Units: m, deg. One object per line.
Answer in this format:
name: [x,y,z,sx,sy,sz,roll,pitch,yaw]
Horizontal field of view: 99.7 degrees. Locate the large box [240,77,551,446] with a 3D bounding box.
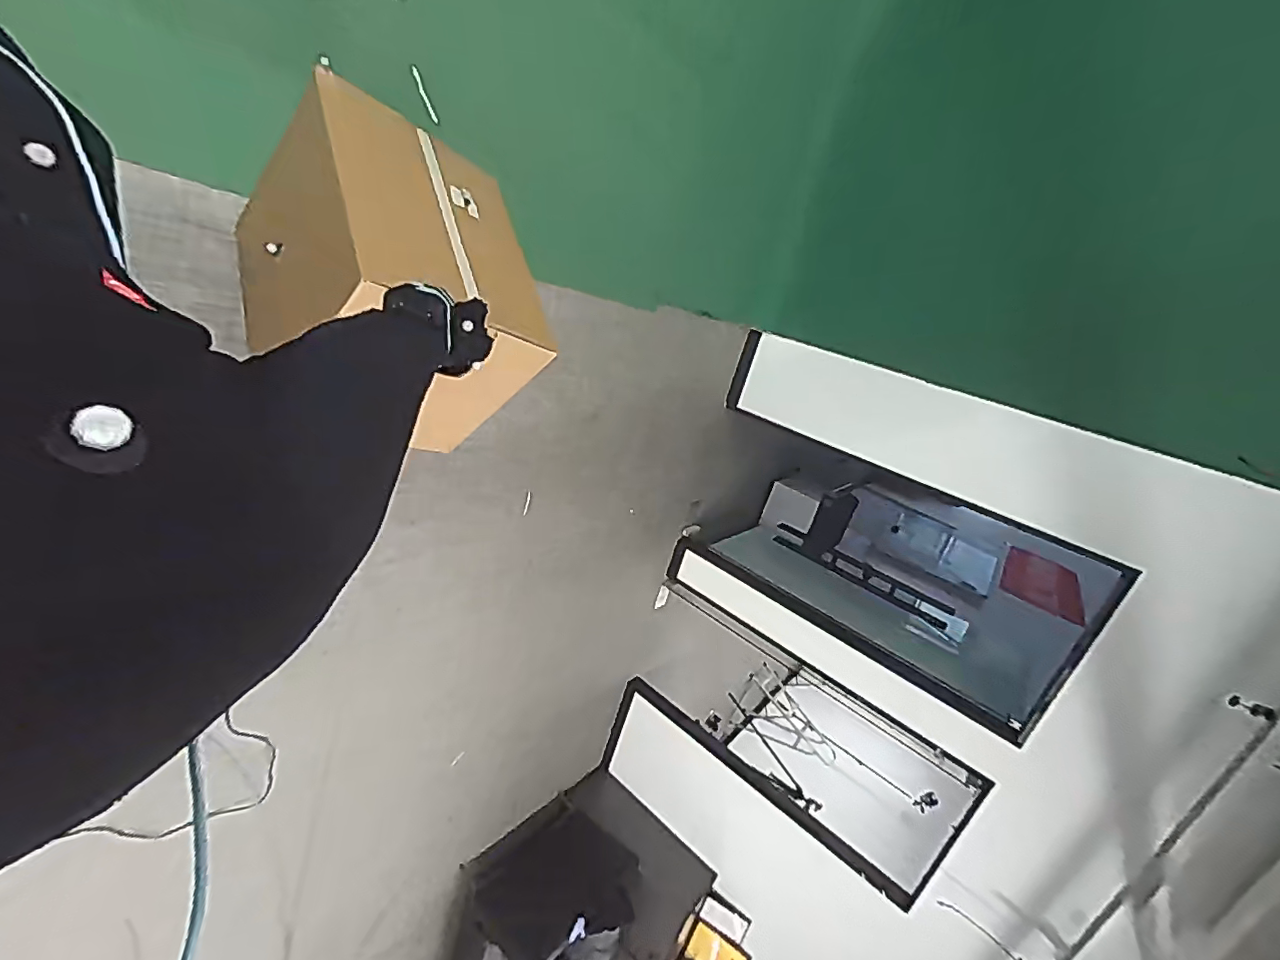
large box: [-0.407,-0.310,0.883,0.320,0.408,0.320,-34,156,29]
